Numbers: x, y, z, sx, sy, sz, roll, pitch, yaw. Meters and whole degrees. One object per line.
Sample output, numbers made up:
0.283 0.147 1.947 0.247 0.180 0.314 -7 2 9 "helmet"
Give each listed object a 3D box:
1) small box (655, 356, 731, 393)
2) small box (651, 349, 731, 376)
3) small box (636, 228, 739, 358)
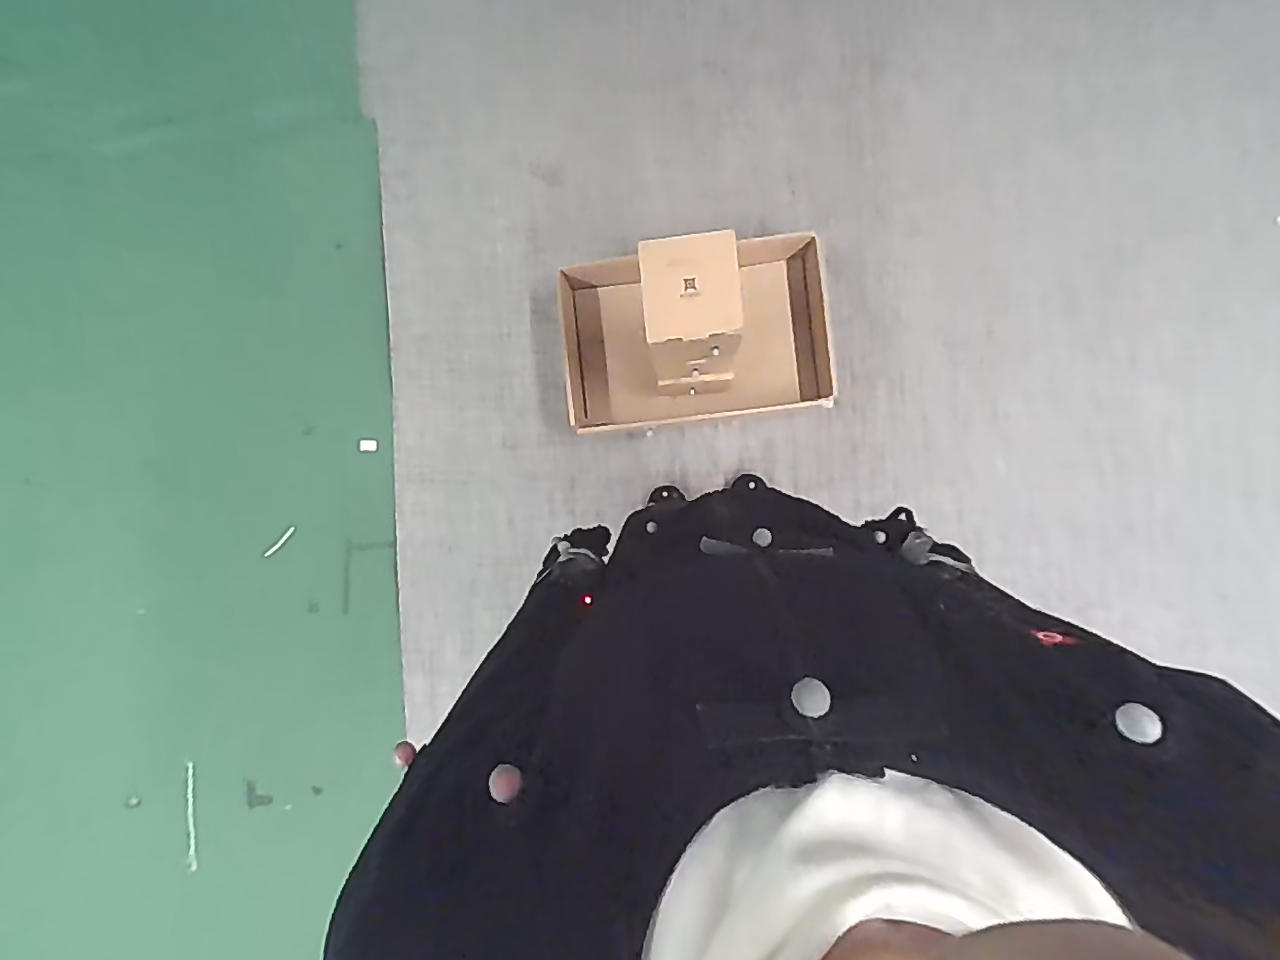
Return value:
0.127 -0.313 1.329 0.179 0.176 0.168 -3 88 6 "small box"
0.104 -0.330 1.170 0.168 0.176 0.179 -8 88 6 "small box"
0.087 -0.329 0.989 0.168 0.176 0.179 -5 88 4 "small box"
